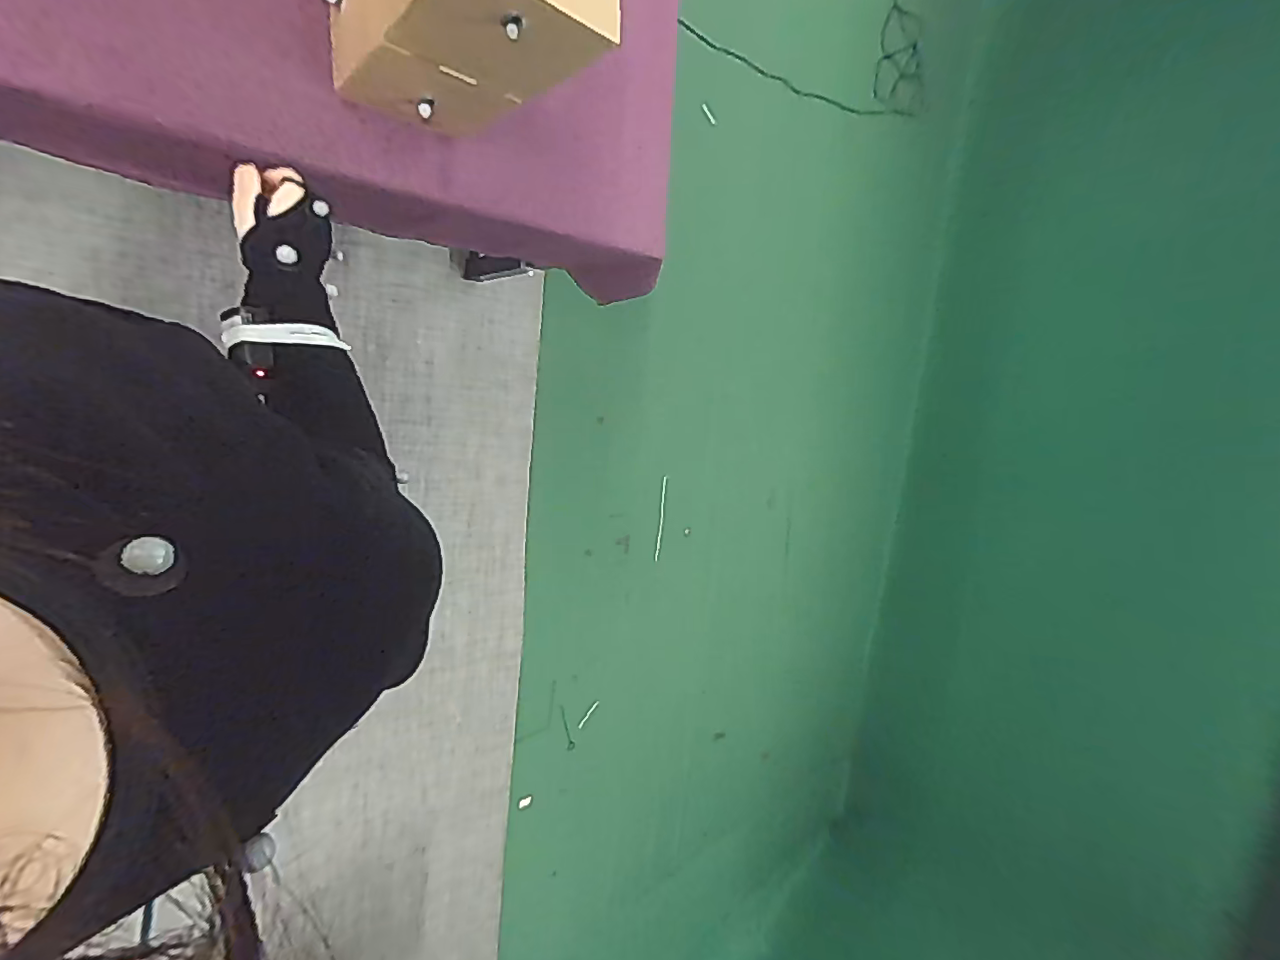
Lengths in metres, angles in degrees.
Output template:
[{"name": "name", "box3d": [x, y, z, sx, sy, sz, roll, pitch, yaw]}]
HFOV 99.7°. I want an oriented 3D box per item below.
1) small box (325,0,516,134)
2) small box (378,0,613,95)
[{"name": "small box", "box3d": [-0.259, -0.544, 0.639, 0.168, 0.176, 0.179, -7, 106, -44]}, {"name": "small box", "box3d": [-0.143, -0.514, 0.524, 0.179, 0.176, 0.168, -8, 106, -43]}]
